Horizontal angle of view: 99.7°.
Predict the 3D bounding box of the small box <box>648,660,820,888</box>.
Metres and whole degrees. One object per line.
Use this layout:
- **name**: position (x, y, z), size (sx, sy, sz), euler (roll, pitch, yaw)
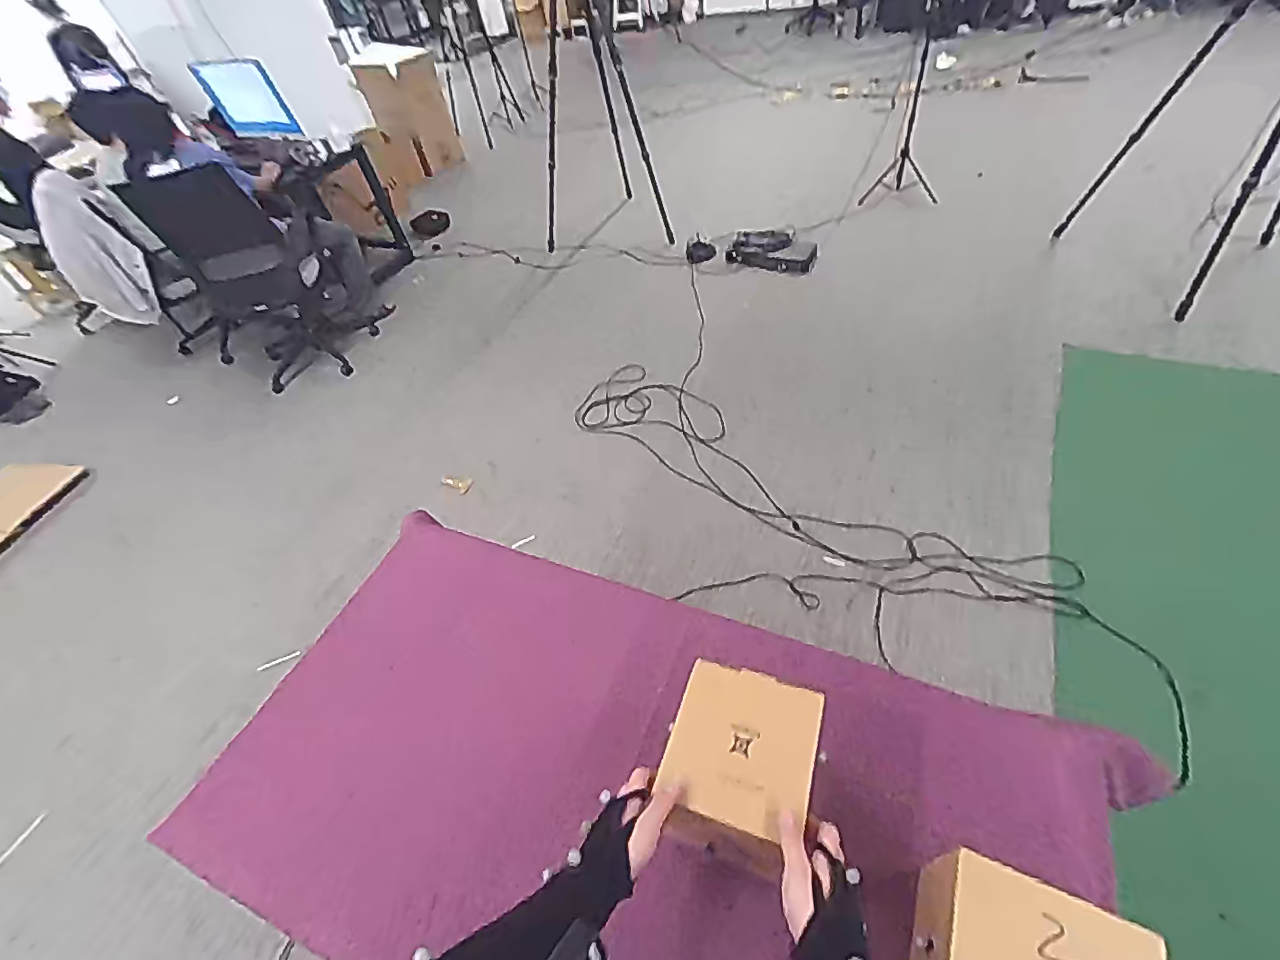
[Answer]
- **small box**: position (0.121, 0.367, 0.682), size (0.168, 0.176, 0.179), euler (11, 45, 20)
